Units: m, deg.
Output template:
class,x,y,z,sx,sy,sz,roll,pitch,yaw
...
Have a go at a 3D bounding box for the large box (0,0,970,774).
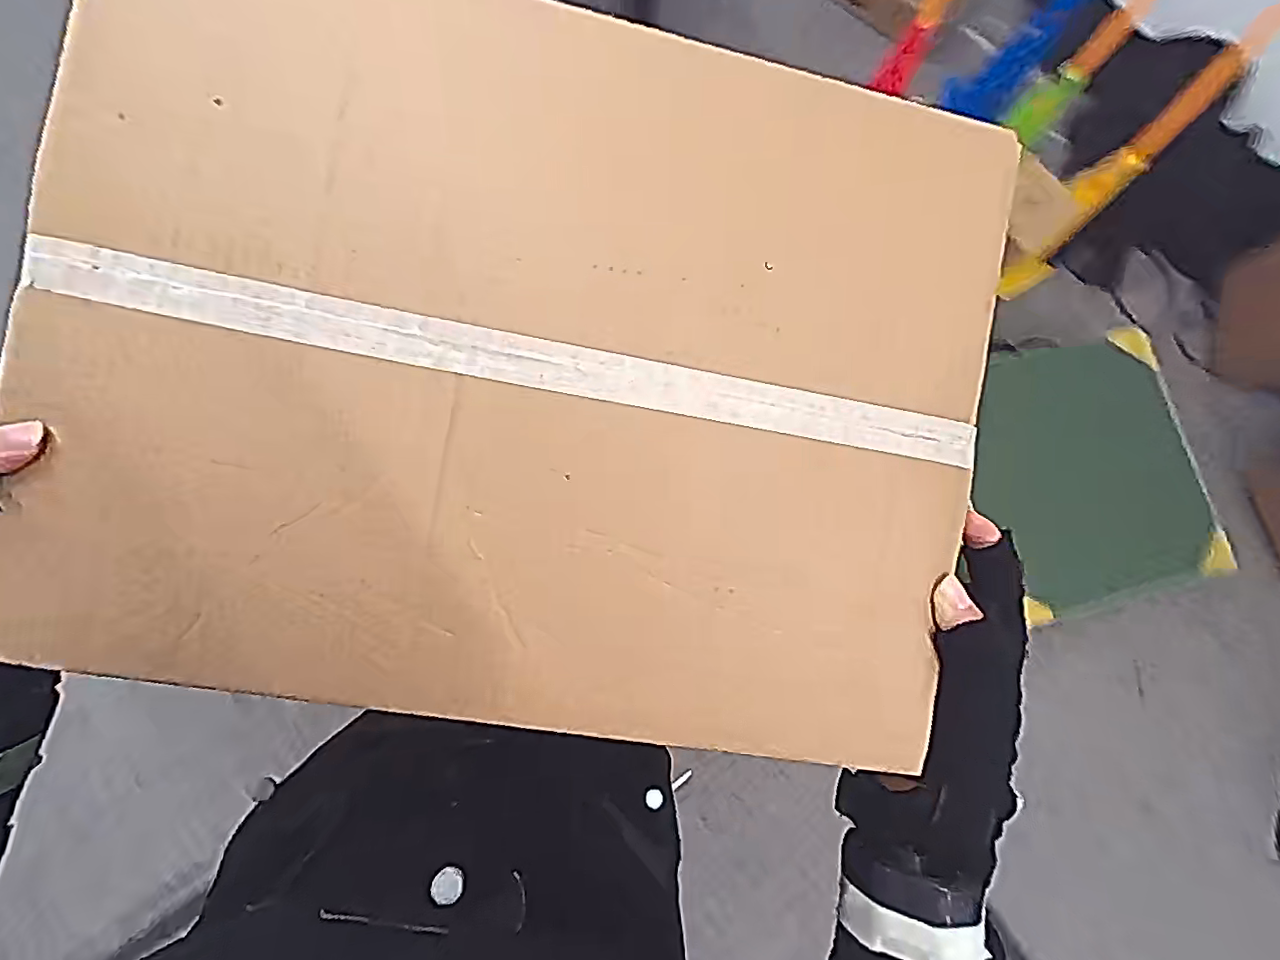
class,x,y,z,sx,sy,sz,roll,pitch,yaw
large box,-0.067,-0.034,0.390,0.408,0.320,0.320,9,88,-7
